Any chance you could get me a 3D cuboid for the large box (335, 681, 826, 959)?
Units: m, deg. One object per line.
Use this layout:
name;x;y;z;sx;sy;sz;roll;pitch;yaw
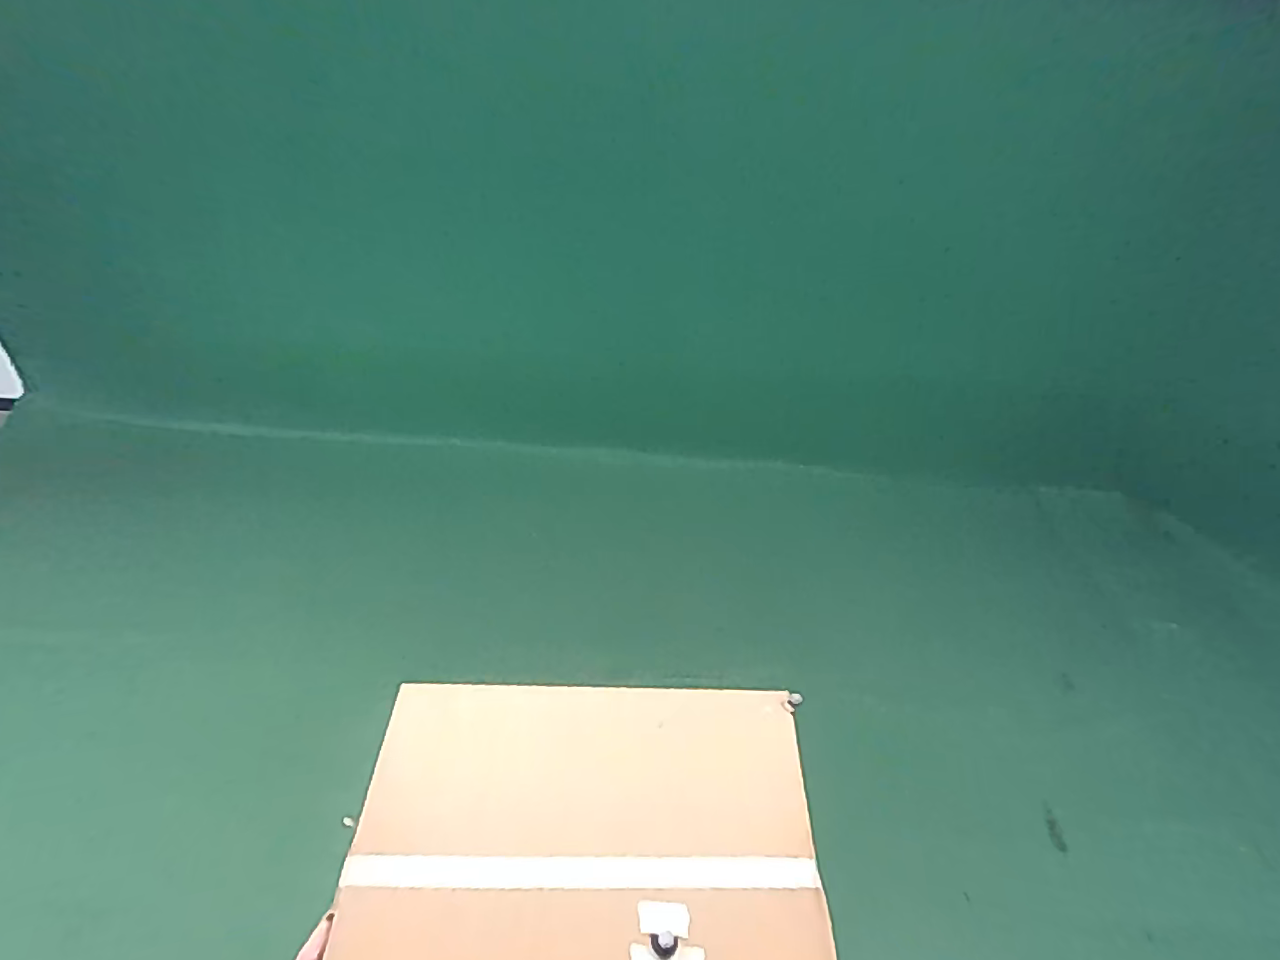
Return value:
large box;-0.054;0.430;0.593;0.408;0.320;0.320;2;51;-2
